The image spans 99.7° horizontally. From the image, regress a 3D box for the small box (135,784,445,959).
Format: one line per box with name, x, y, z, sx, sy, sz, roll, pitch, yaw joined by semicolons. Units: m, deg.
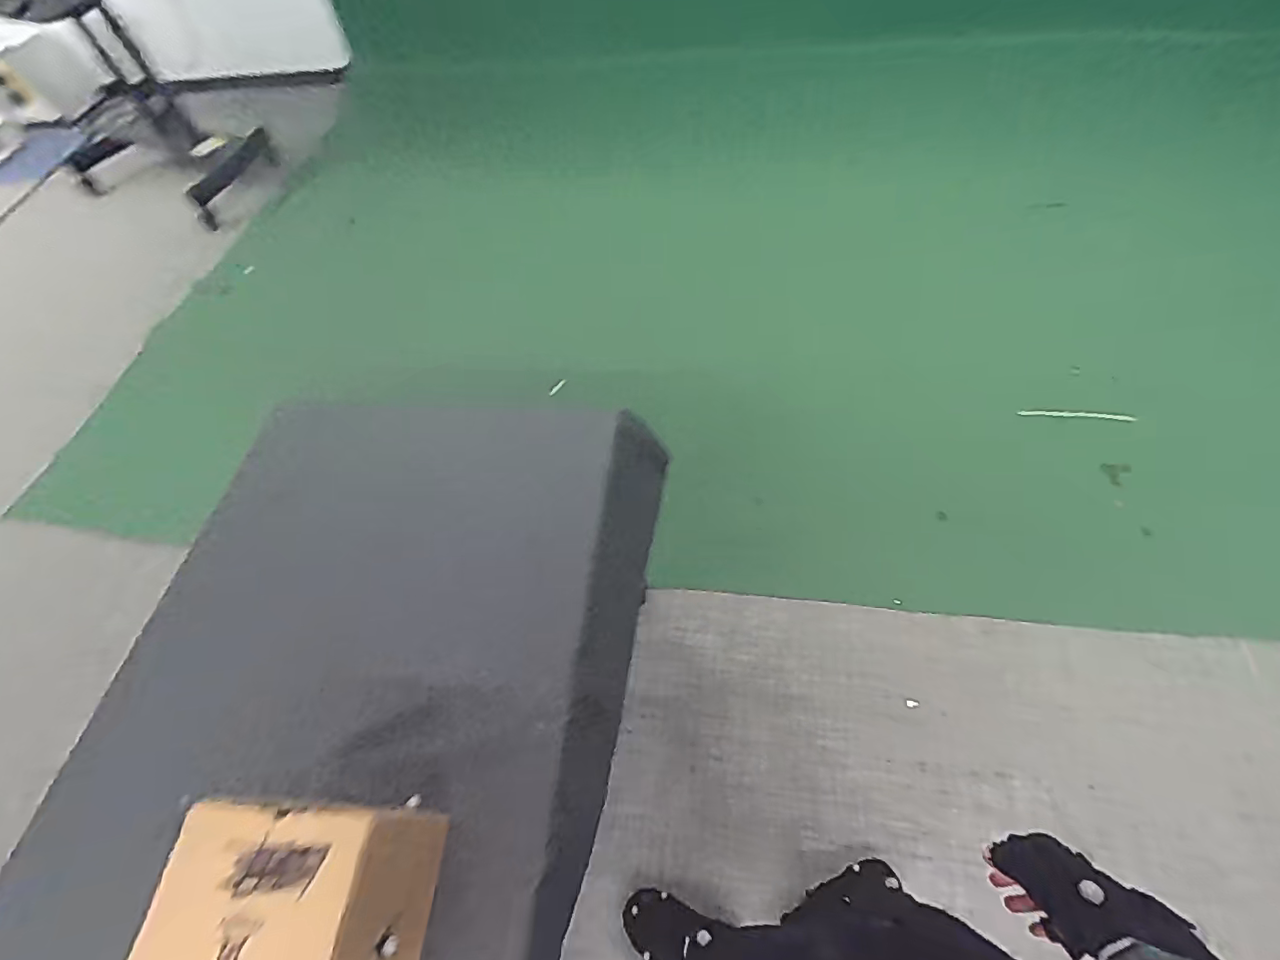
small box;-0.301;0.389;0.498;0.168;0.176;0.179;0;60;7
